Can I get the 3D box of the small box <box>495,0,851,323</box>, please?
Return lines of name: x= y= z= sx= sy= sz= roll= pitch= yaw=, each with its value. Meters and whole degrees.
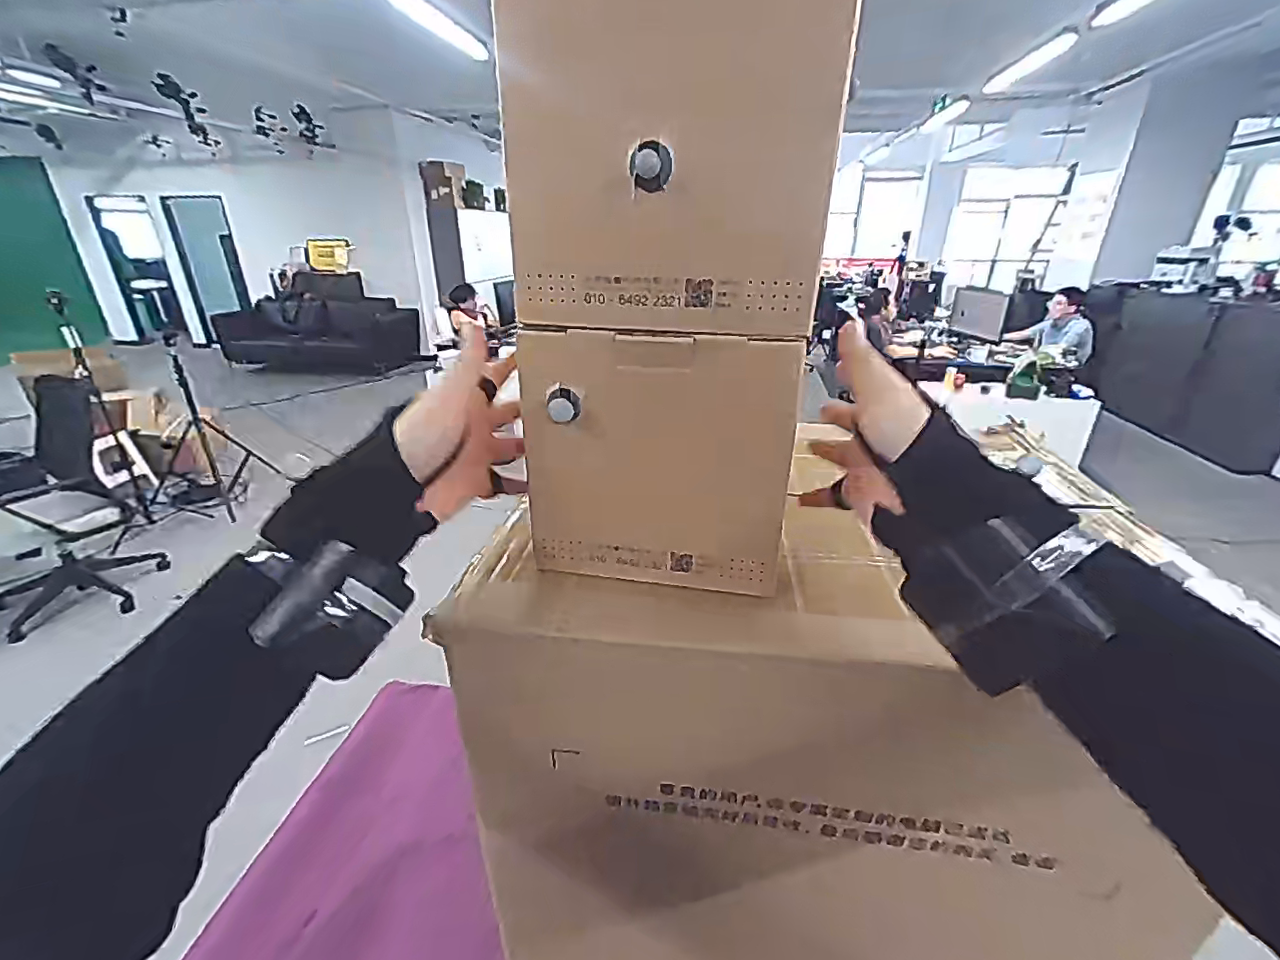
small box: x=0.027 y=-0.197 z=0.339 sx=0.168 sy=0.176 sz=0.179 roll=5 pitch=25 yaw=8
